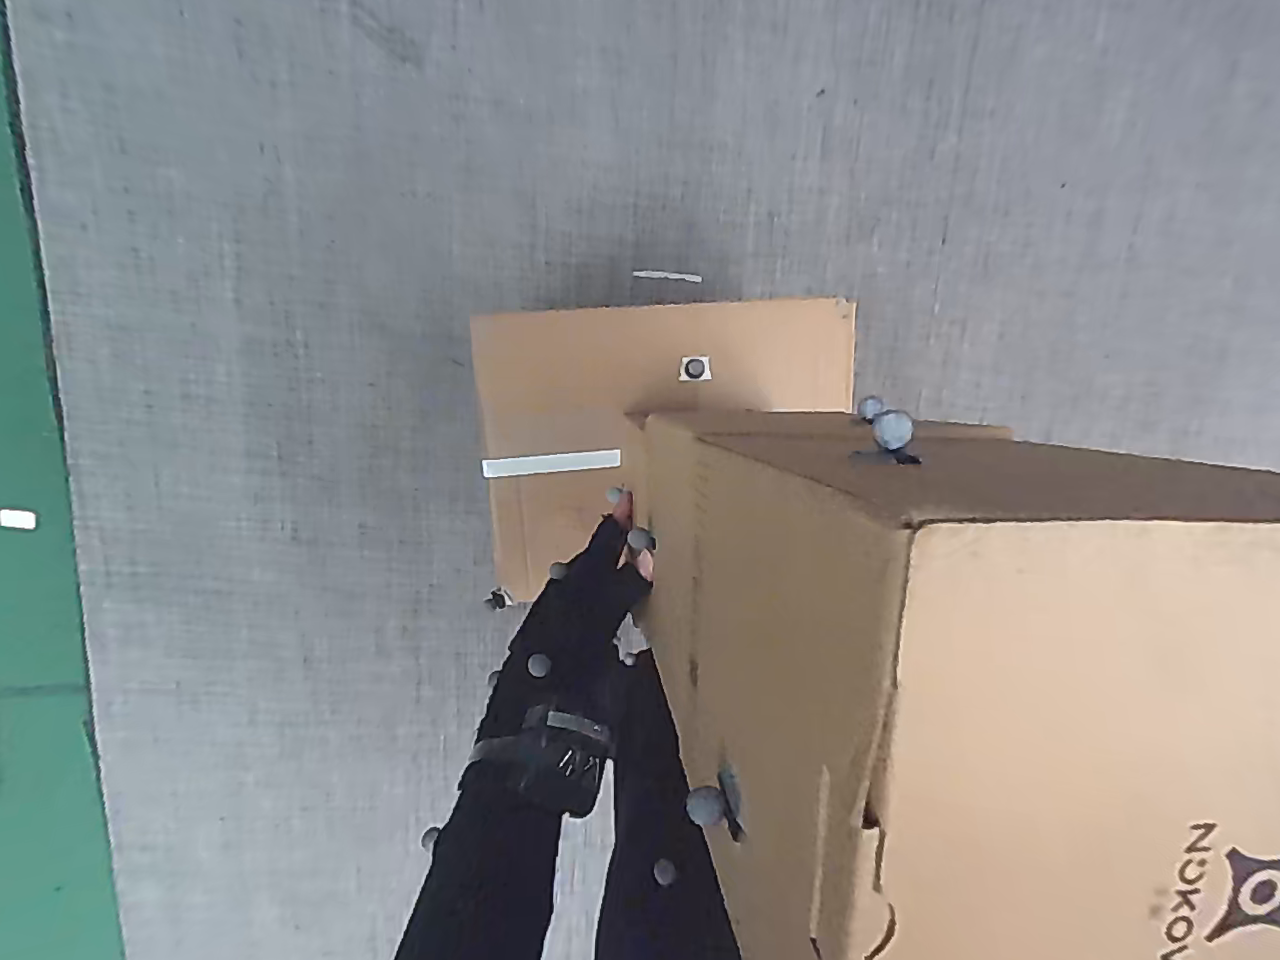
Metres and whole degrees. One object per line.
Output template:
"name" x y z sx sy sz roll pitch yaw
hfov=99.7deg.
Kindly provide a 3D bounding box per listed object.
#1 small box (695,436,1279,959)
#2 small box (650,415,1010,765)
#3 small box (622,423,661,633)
"small box" 0.121 0.074 0.195 0.179 0.176 0.168 -1 100 -7
"small box" 0.099 0.051 0.355 0.168 0.176 0.179 -1 100 -6
"small box" 0.078 0.033 0.515 0.179 0.176 0.168 1 99 -6
